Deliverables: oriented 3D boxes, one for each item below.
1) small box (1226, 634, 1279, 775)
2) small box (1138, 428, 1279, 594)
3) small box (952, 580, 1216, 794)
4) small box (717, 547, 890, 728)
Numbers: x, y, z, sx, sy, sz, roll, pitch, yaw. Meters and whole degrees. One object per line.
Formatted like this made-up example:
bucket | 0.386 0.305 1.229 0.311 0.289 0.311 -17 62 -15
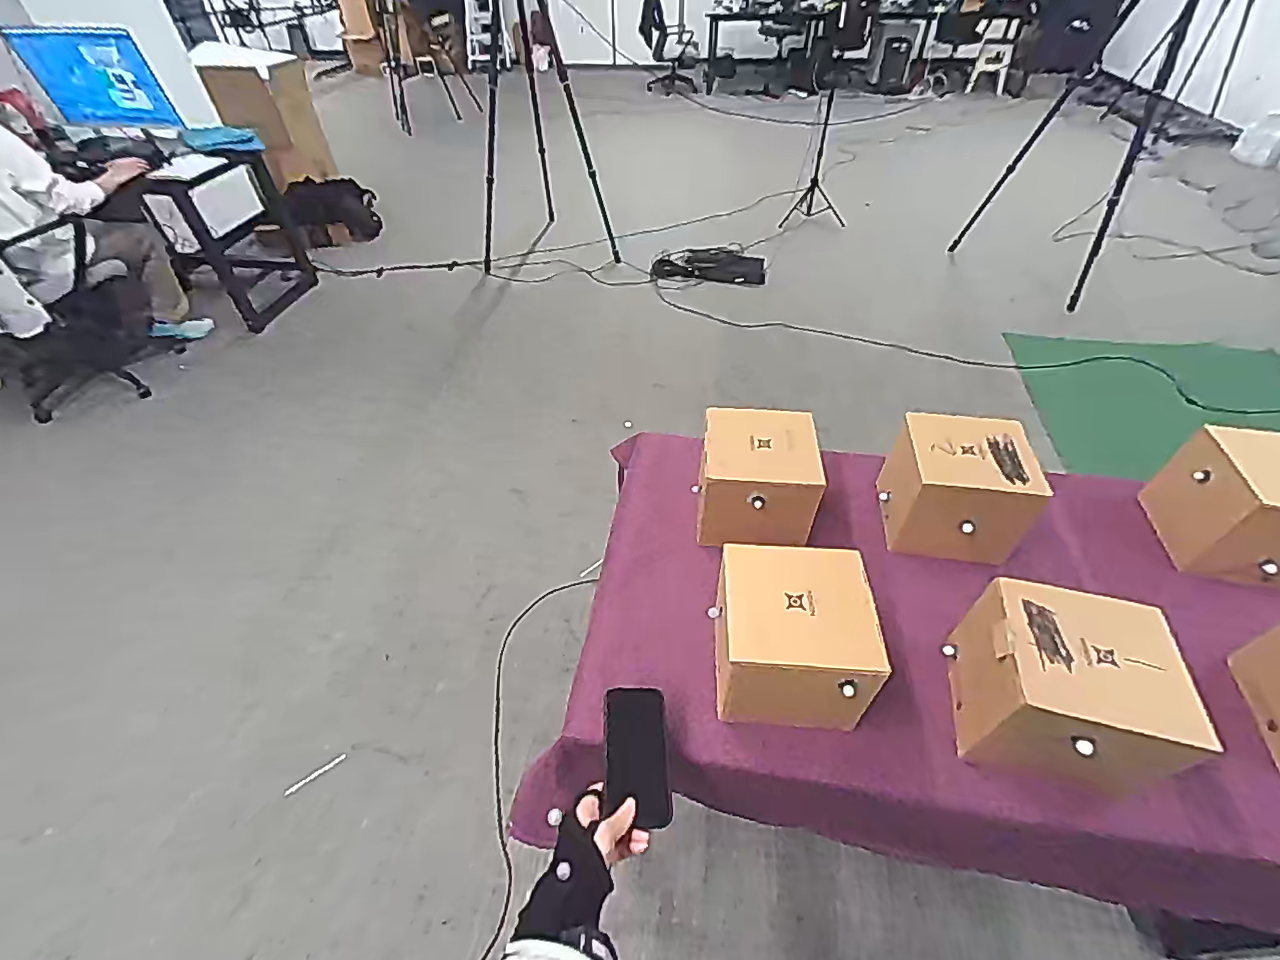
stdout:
small box | 0.868 0.266 0.624 0.179 0.176 0.168 12 46 12
small box | 0.938 0.047 0.838 0.168 0.176 0.179 8 47 11
small box | 0.498 0.250 0.650 0.179 0.176 0.168 11 47 11
small box | 0.193 0.206 0.702 0.179 0.176 0.168 3 45 3
